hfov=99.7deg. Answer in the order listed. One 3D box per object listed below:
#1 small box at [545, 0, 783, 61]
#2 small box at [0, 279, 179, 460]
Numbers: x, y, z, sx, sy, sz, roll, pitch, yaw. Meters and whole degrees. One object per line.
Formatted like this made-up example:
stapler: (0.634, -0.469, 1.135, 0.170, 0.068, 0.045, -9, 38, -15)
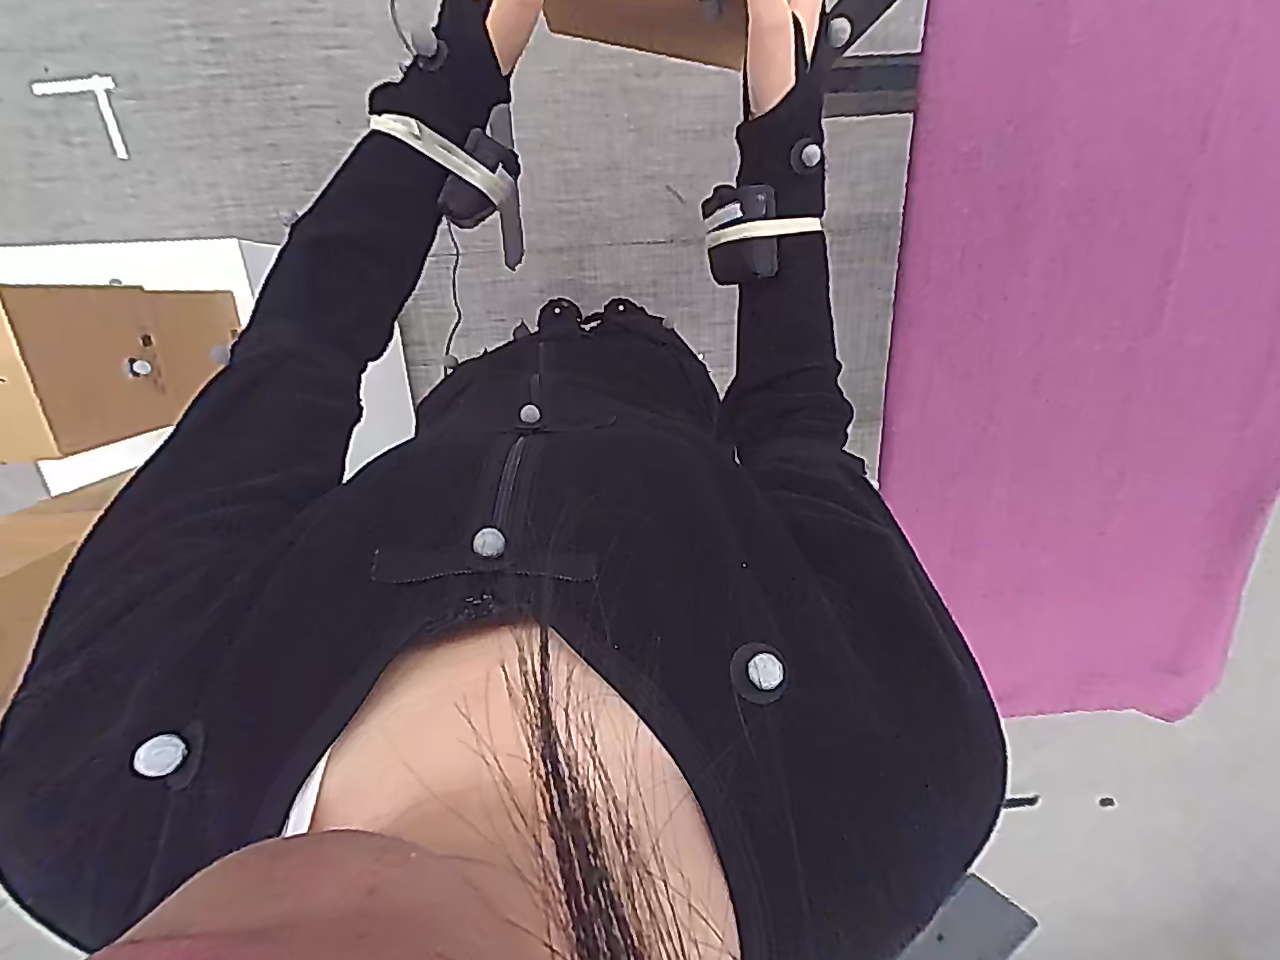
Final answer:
small box: (0.024, -0.417, 0.362, 0.179, 0.176, 0.168, 9, 110, -4)
small box: (-0.654, -0.123, 0.571, 0.179, 0.176, 0.168, -1, 110, -4)
